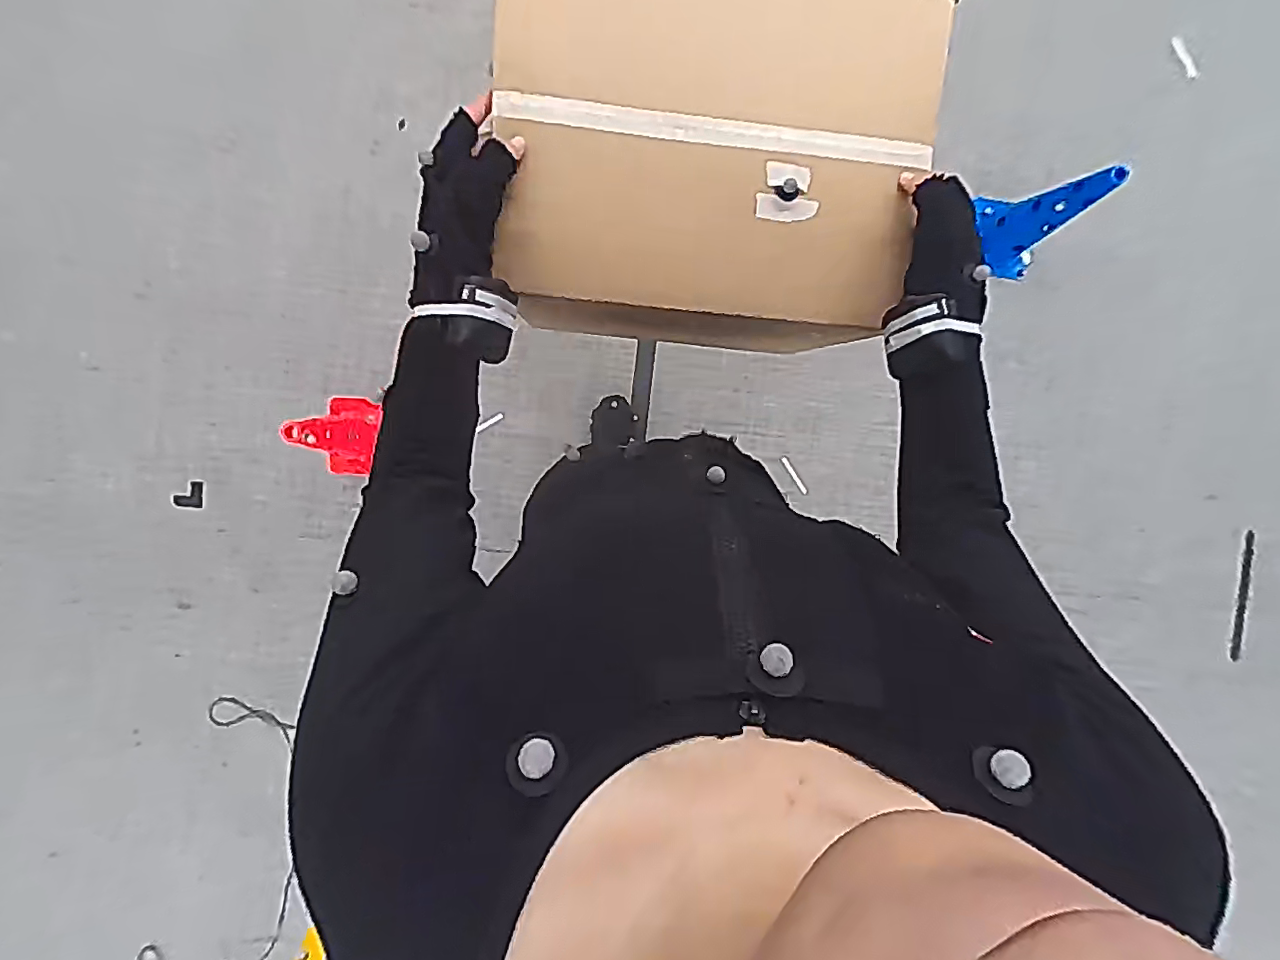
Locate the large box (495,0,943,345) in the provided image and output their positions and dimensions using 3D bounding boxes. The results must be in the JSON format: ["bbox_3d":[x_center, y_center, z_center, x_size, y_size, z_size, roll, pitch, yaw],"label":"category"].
[{"bbox_3d":[0.058,-0.345,0.644,0.408,0.320,0.320,4,99,-6],"label":"large box"}]

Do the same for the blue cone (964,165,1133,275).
[{"bbox_3d":[1.004,-0.662,1.329,0.192,0.380,0.193,9,93,-5],"label":"blue cone"}]

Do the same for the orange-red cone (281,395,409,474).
[{"bbox_3d":[-0.693,-0.103,1.234,0.198,0.360,0.199,3,94,-3],"label":"orange-red cone"}]
